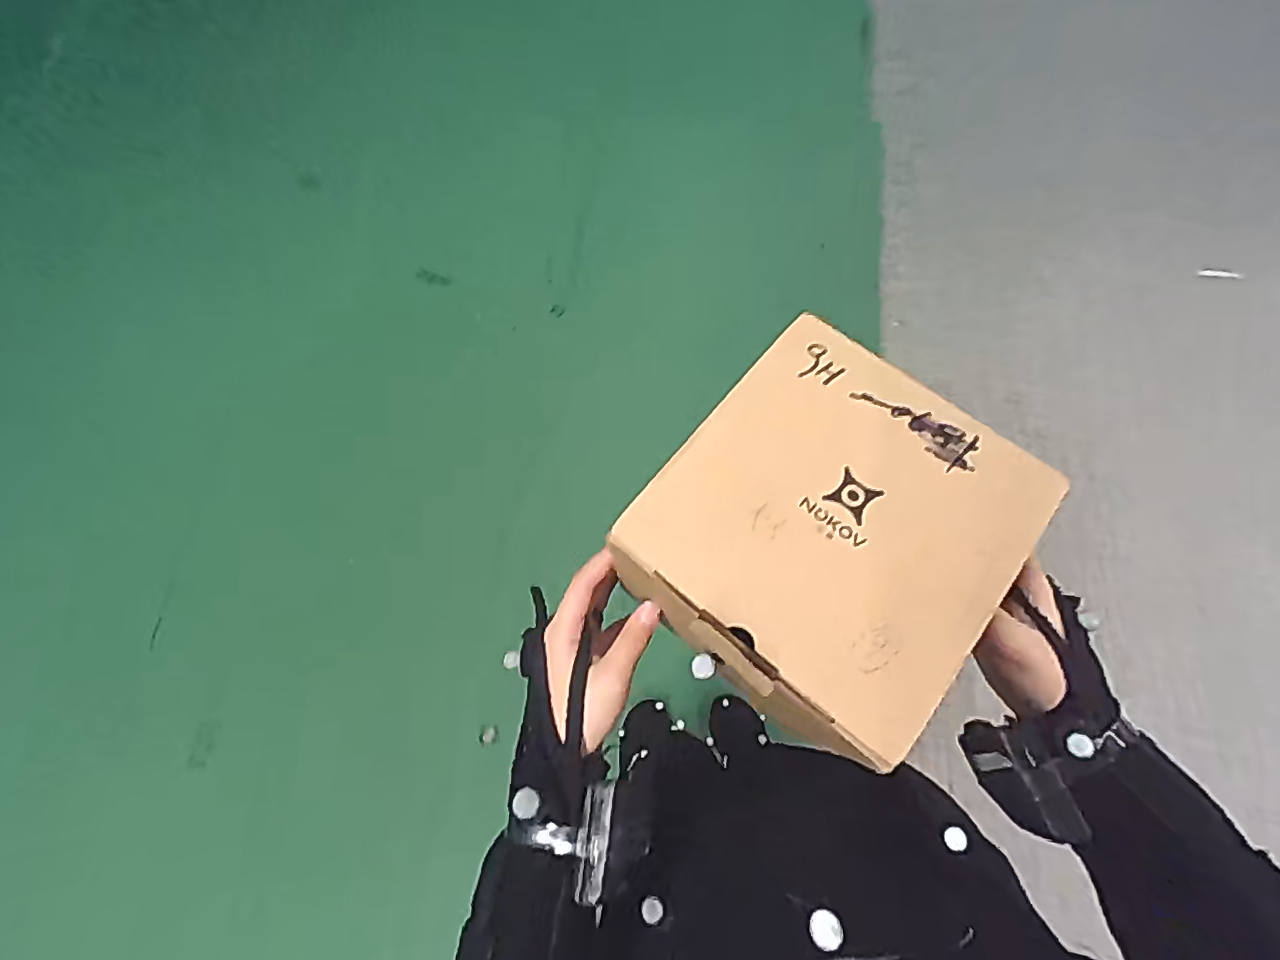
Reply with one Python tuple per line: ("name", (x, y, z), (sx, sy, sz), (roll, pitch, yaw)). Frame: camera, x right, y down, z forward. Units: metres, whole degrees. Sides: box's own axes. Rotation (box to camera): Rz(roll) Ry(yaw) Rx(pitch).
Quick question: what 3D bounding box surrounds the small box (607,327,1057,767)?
("small box", (0.102, 0.047, 0.353), (0.168, 0.176, 0.179), (40, 76, 14))
